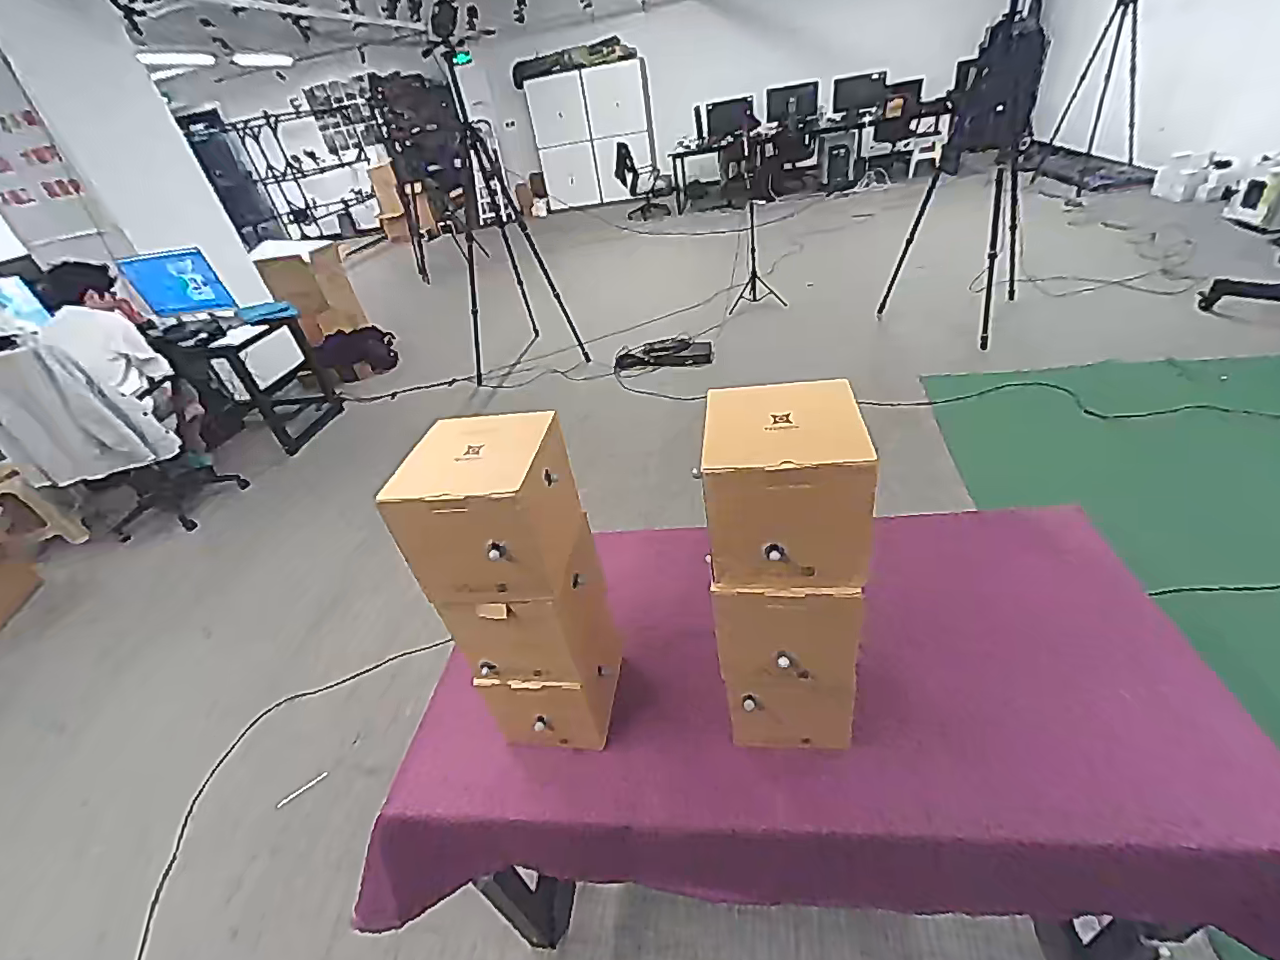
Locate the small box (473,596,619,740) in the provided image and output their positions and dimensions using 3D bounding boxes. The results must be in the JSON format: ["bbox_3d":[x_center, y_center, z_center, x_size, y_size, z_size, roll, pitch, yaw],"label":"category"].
[{"bbox_3d":[-0.136,0.293,0.867,0.168,0.176,0.179,-1,38,11],"label":"small box"}]

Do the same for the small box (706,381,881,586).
[{"bbox_3d":[0.167,0.002,0.626,0.168,0.176,0.179,-2,37,11],"label":"small box"}]

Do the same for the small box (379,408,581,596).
[{"bbox_3d":[-0.180,0.029,0.678,0.168,0.176,0.179,-2,36,10],"label":"small box"}]

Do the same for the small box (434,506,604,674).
[{"bbox_3d":[-0.157,0.157,0.776,0.168,0.176,0.179,-1,36,12],"label":"small box"}]

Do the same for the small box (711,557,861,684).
[{"bbox_3d":[0.187,0.139,0.713,0.168,0.176,0.179,-1,37,14],"label":"small box"}]
